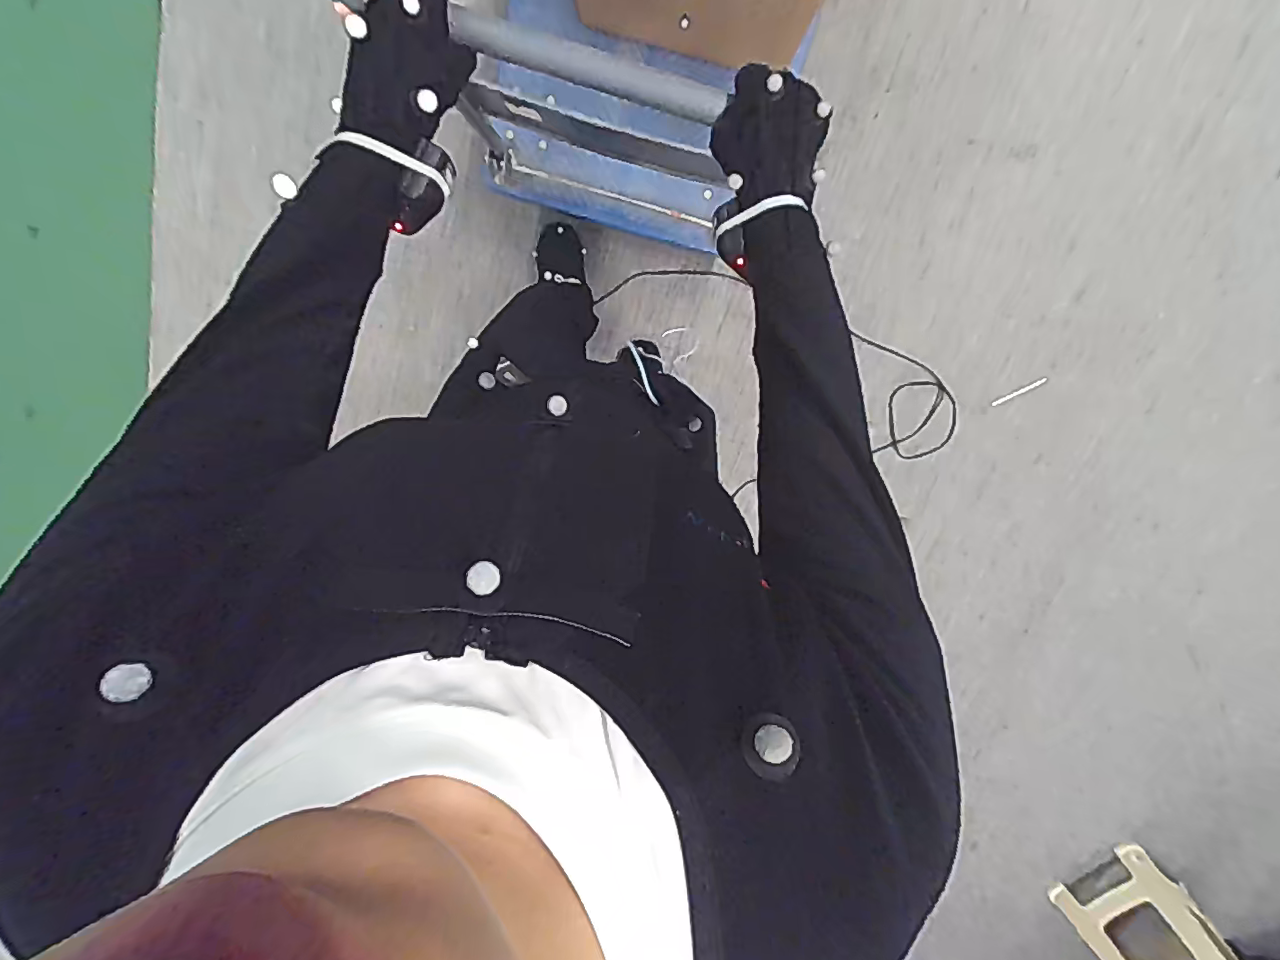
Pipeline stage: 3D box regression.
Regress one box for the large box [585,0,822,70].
[{"bbox_3d":[0.120,-0.936,0.868,0.408,0.320,0.320,14,107,-1],"label":"large box"}]
